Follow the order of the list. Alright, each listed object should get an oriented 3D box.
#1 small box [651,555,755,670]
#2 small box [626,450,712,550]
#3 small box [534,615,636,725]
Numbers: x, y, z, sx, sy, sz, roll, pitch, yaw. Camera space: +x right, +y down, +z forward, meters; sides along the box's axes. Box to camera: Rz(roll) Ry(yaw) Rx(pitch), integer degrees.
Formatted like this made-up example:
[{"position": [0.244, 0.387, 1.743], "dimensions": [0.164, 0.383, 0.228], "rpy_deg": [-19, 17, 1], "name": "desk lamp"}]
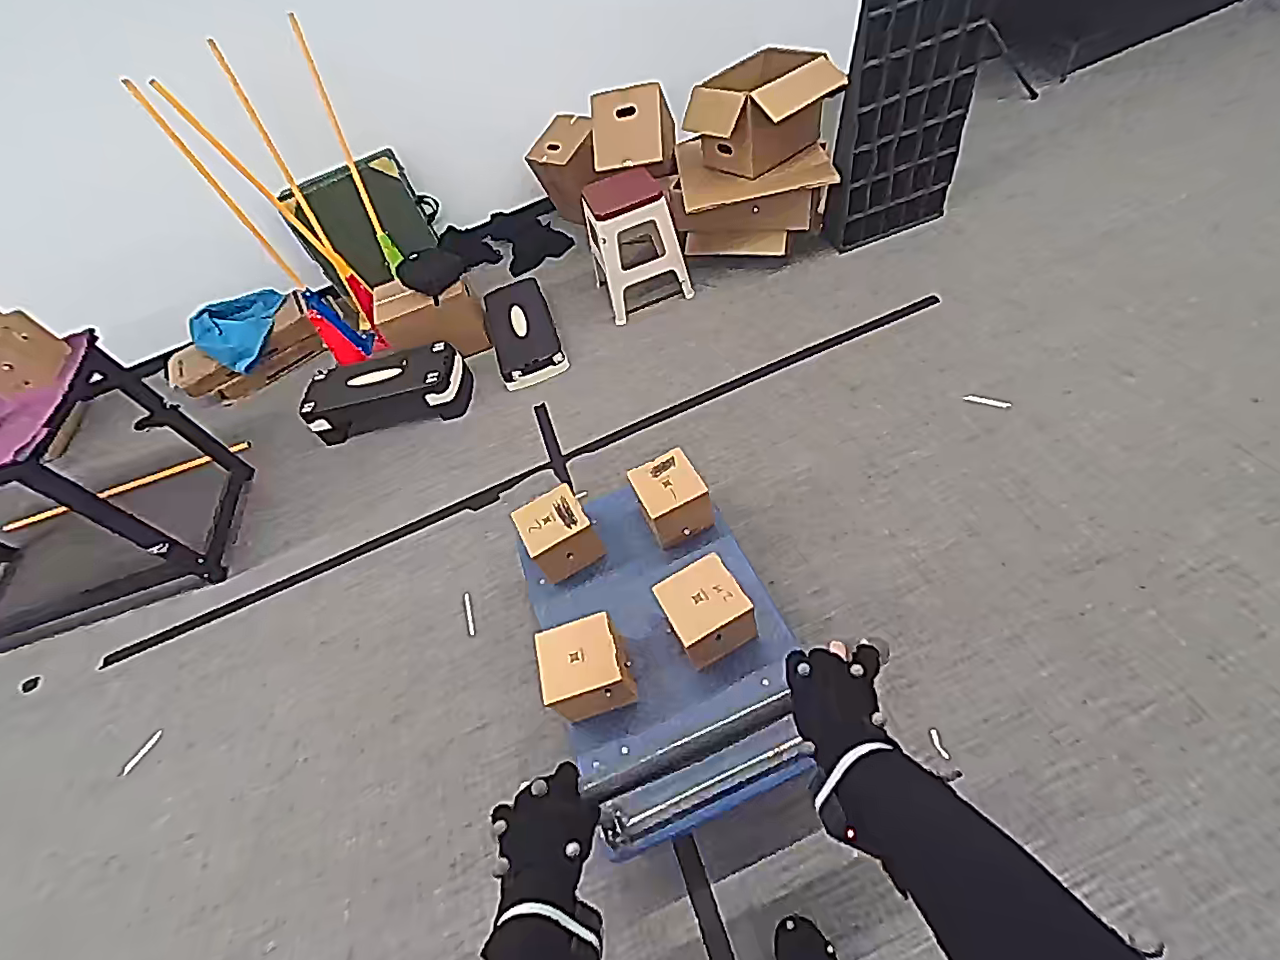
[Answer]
[{"position": [0.152, 0.314, 1.260], "dimensions": [0.179, 0.176, 0.168], "rpy_deg": [-29, 52, -6], "name": "small box"}, {"position": [0.082, 0.057, 1.471], "dimensions": [0.168, 0.176, 0.179], "rpy_deg": [-27, 53, -5], "name": "small box"}, {"position": [-0.124, 0.441, 1.243], "dimensions": [0.179, 0.176, 0.168], "rpy_deg": [-19, 51, 0], "name": "small box"}]
